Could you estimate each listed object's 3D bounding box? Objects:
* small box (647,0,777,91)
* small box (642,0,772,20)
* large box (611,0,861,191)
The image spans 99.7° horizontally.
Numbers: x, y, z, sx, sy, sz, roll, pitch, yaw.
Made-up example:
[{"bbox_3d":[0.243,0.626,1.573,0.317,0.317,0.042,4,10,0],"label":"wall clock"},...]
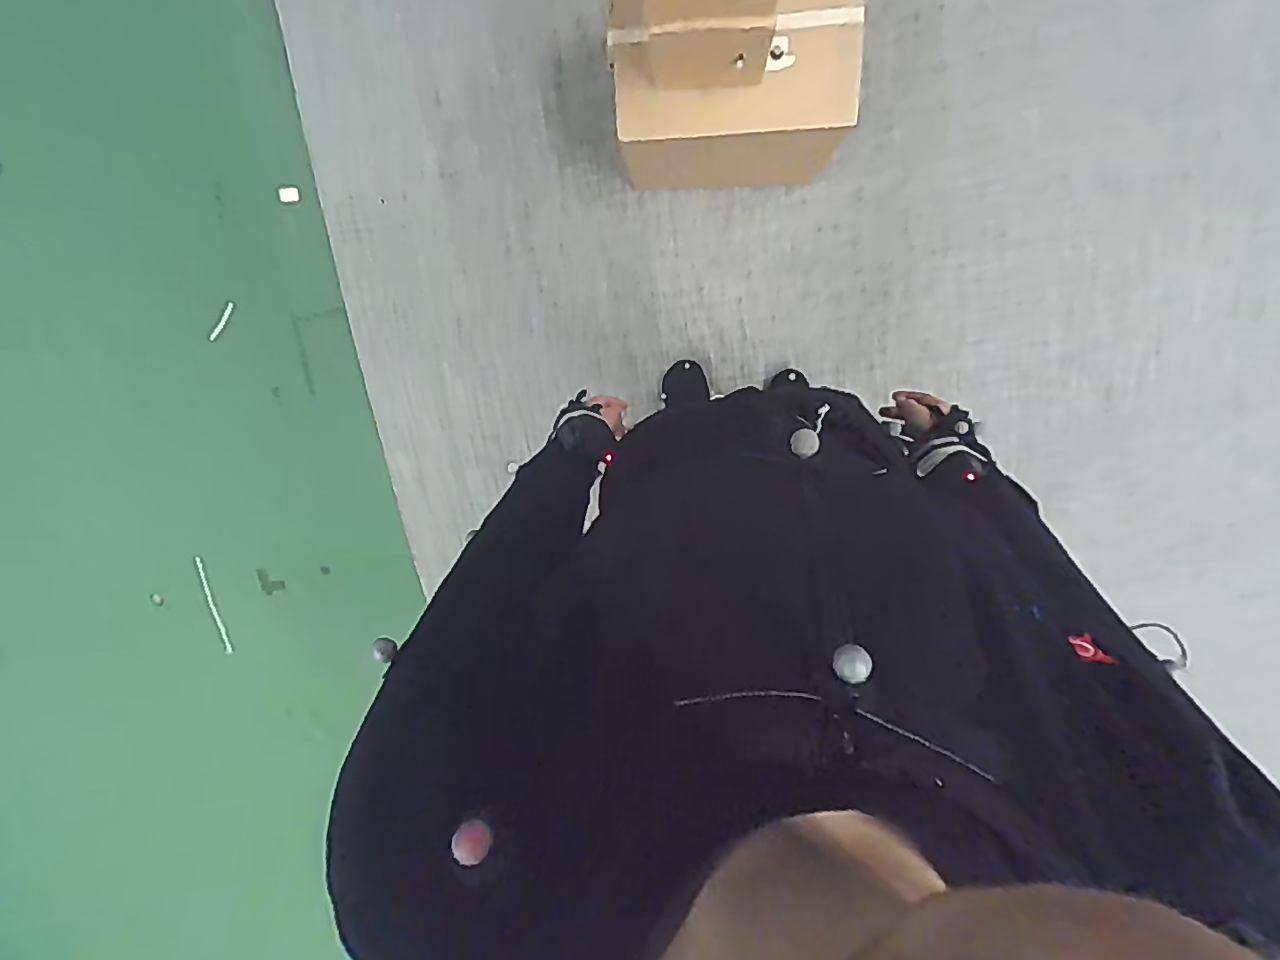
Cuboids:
[{"bbox_3d":[0.101,-0.704,0.792,0.179,0.176,0.168,0,102,6],"label":"small box"},{"bbox_3d":[0.081,-0.681,0.632,0.179,0.176,0.168,-1,102,4],"label":"small box"},{"bbox_3d":[0.162,-0.768,1.021,0.408,0.320,0.320,-1,104,4],"label":"large box"}]
